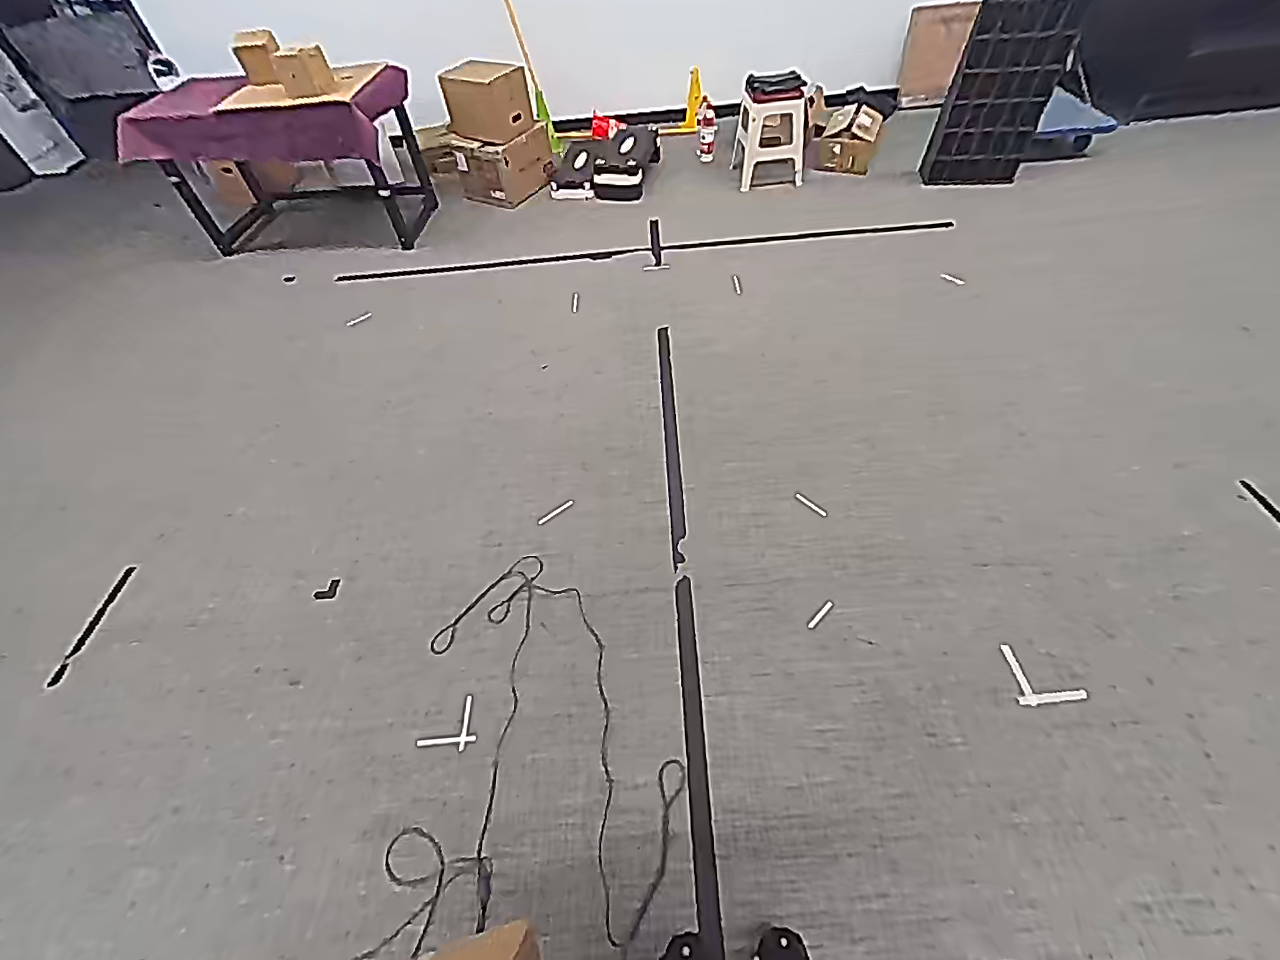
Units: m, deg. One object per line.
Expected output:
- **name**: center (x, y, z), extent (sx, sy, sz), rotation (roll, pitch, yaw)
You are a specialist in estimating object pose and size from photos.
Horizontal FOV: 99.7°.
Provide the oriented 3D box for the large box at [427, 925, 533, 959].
- **large box**: center (-0.271, 0.814, 0.593), extent (0.320, 0.408, 0.320), rotation (-20, 75, -4)
